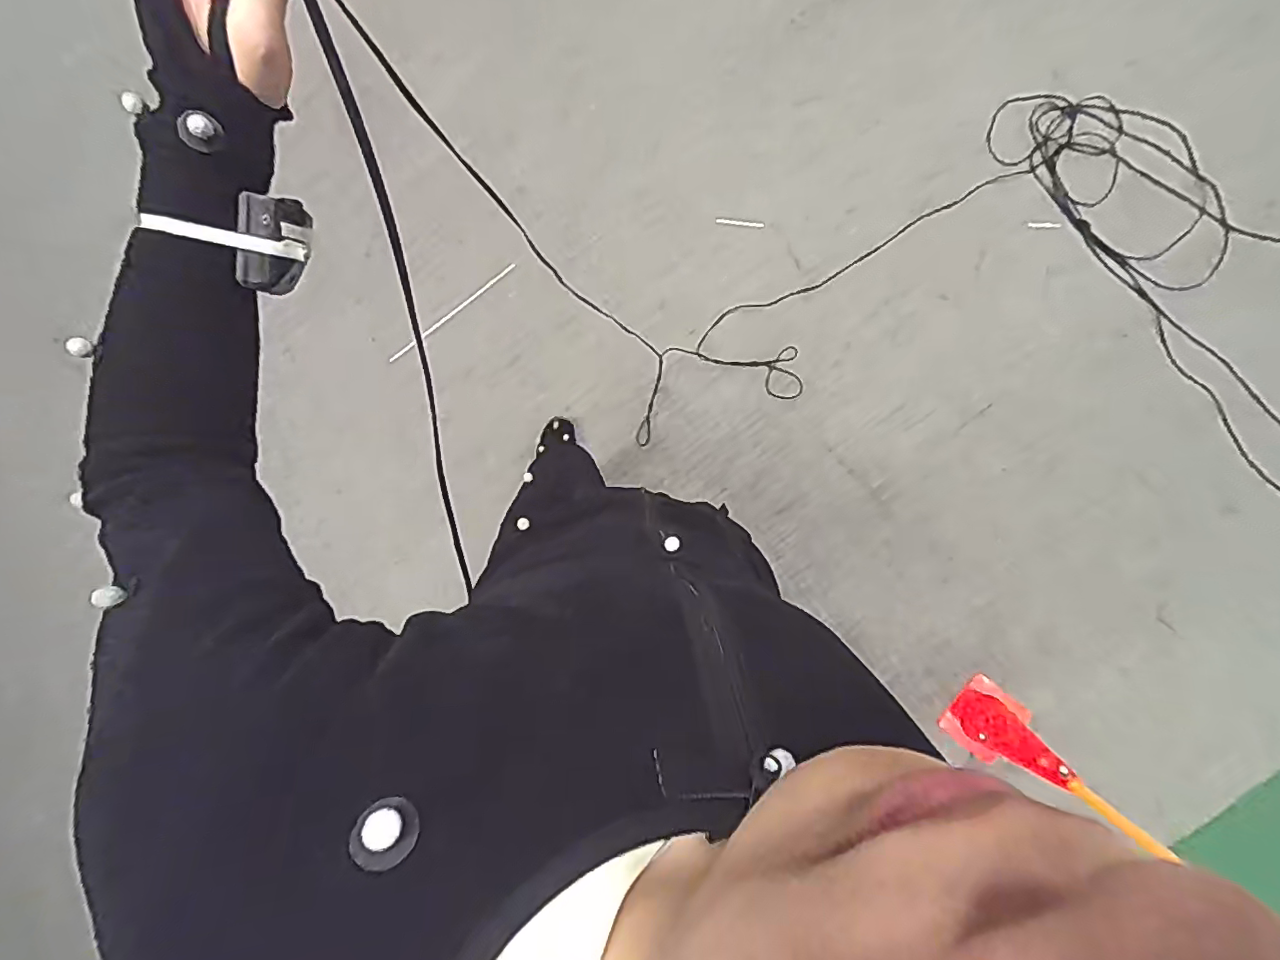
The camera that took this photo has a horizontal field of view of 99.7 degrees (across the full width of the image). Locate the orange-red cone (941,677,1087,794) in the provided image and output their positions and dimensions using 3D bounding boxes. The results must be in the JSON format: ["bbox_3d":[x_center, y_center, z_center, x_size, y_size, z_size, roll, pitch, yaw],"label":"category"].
[{"bbox_3d":[0.998,0.694,1.399,0.198,0.360,0.199,40,90,1],"label":"orange-red cone"}]
